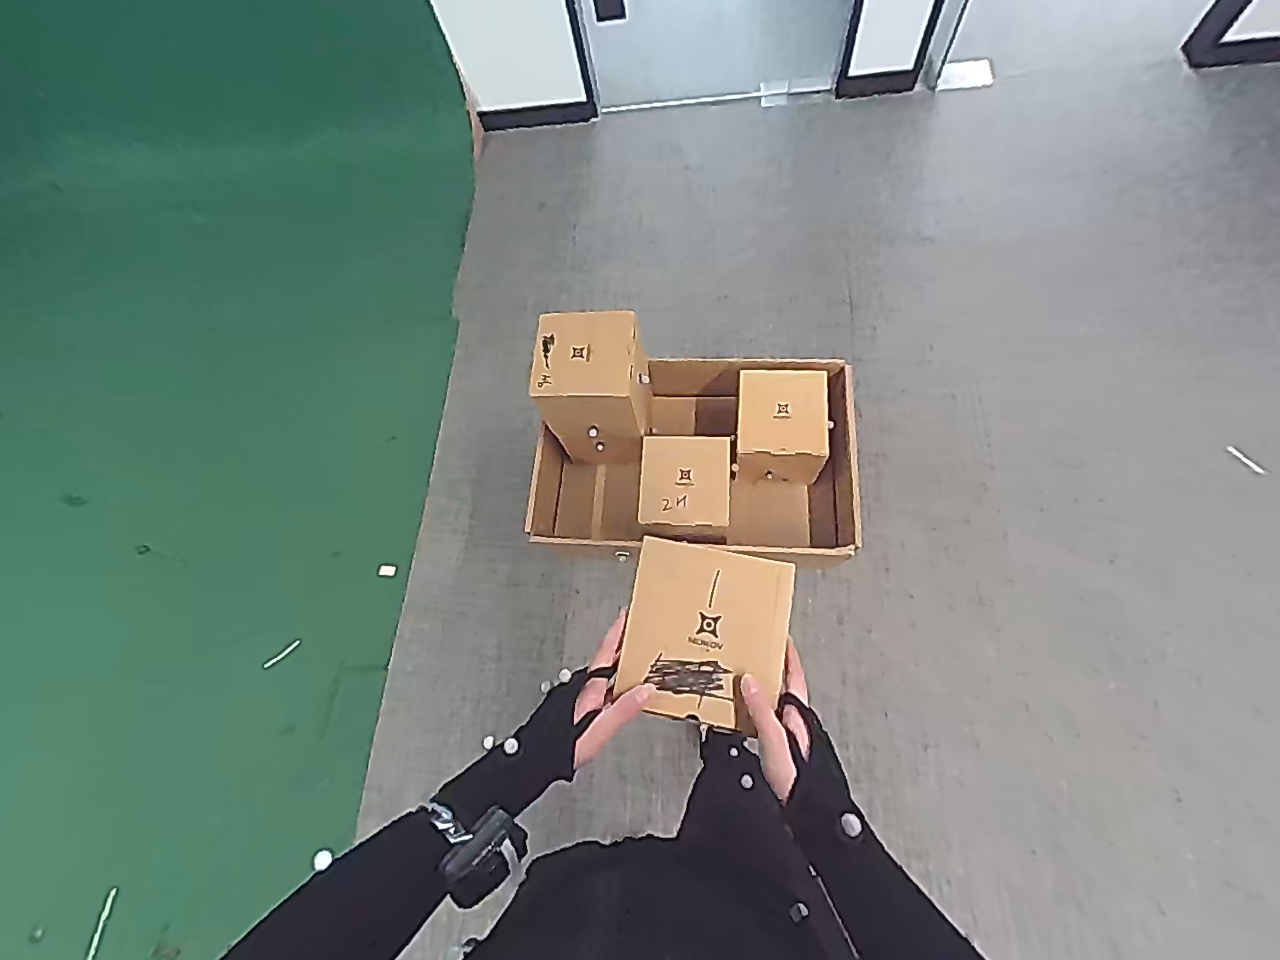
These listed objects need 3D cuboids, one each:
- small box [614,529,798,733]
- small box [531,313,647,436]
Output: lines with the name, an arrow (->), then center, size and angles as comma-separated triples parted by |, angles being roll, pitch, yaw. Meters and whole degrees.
small box -> 0.071, 0.170, 0.629 | 0.168, 0.176, 0.179 | 11, 75, 3
small box -> -0.083, -0.188, 0.994 | 0.179, 0.176, 0.168 | 2, 71, 8
